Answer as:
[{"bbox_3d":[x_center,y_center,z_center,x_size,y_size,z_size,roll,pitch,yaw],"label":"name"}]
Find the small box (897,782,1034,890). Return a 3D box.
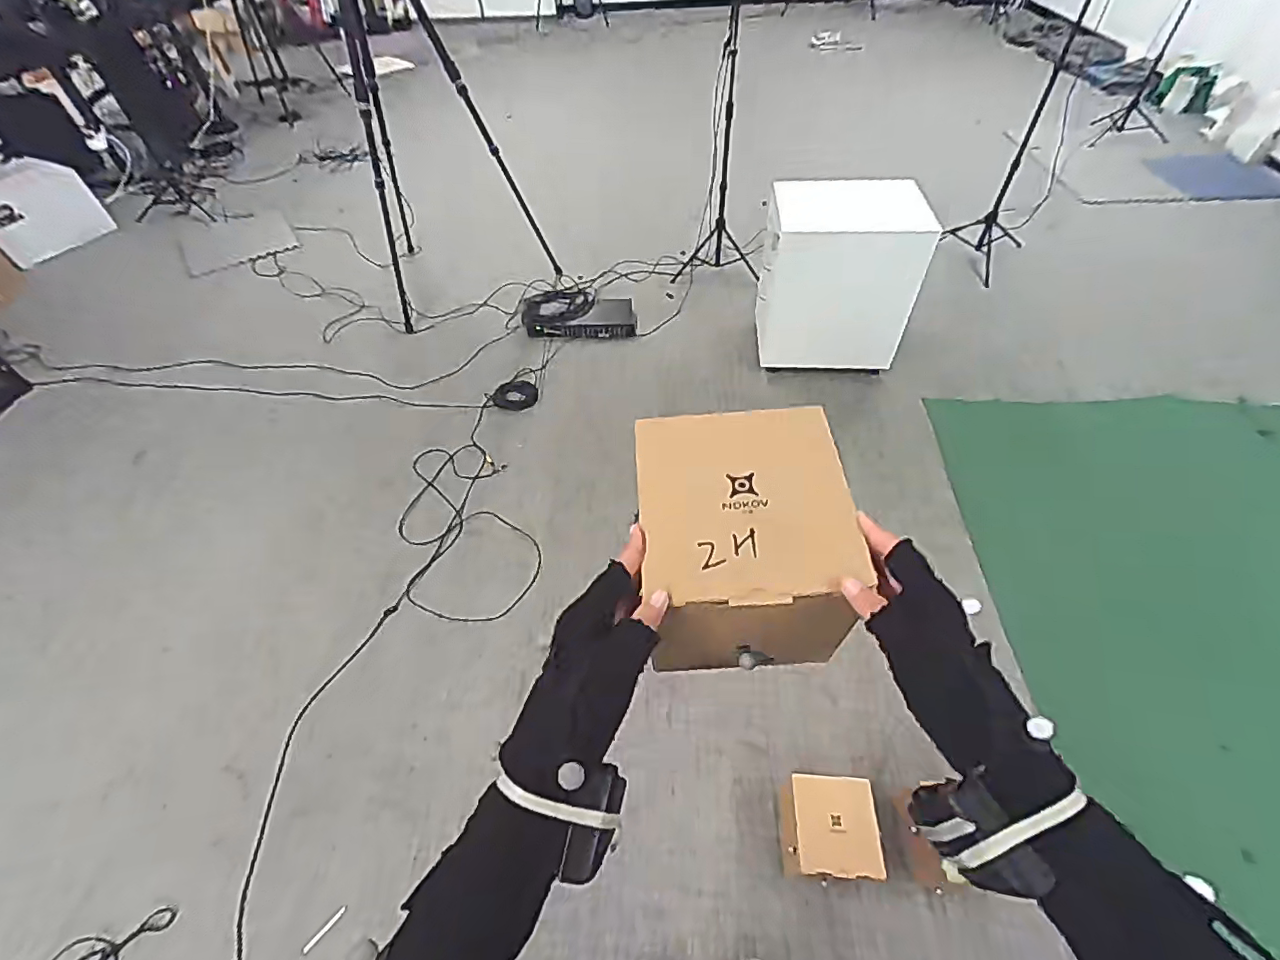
[{"bbox_3d":[0.669,0.749,1.136,0.168,0.176,0.179,-1,50,2],"label":"small box"}]

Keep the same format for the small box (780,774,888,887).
[{"bbox_3d":[0.401,0.747,1.151,0.168,0.176,0.179,2,51,4],"label":"small box"}]
